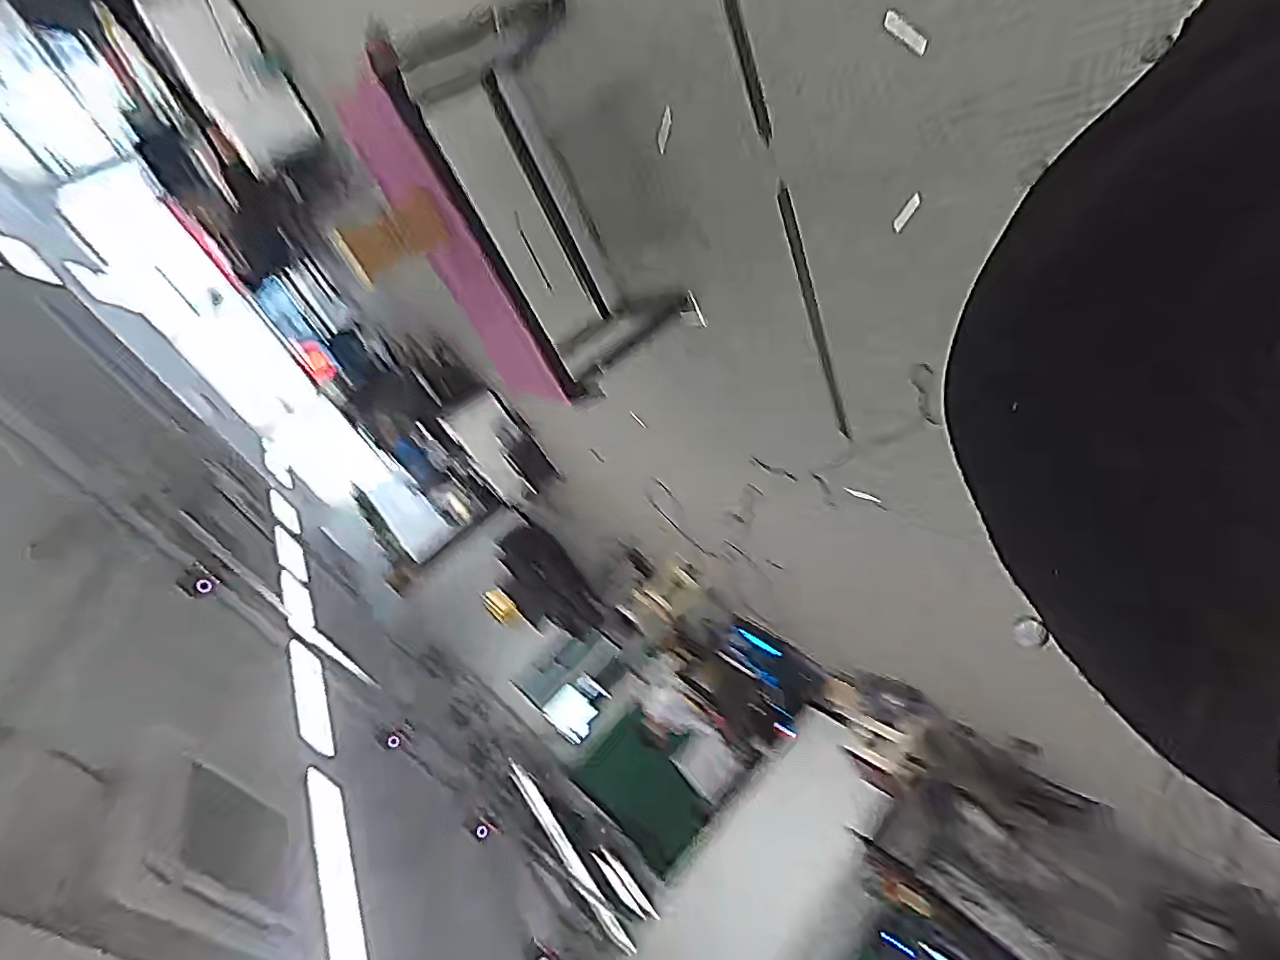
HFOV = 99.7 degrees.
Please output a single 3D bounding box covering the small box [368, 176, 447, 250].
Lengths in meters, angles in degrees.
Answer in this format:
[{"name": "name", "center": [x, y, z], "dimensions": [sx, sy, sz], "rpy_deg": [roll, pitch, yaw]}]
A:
[{"name": "small box", "center": [-0.813, -0.939, 1.897], "dimensions": [0.168, 0.176, 0.179], "rpy_deg": [22, 147, 54]}]
